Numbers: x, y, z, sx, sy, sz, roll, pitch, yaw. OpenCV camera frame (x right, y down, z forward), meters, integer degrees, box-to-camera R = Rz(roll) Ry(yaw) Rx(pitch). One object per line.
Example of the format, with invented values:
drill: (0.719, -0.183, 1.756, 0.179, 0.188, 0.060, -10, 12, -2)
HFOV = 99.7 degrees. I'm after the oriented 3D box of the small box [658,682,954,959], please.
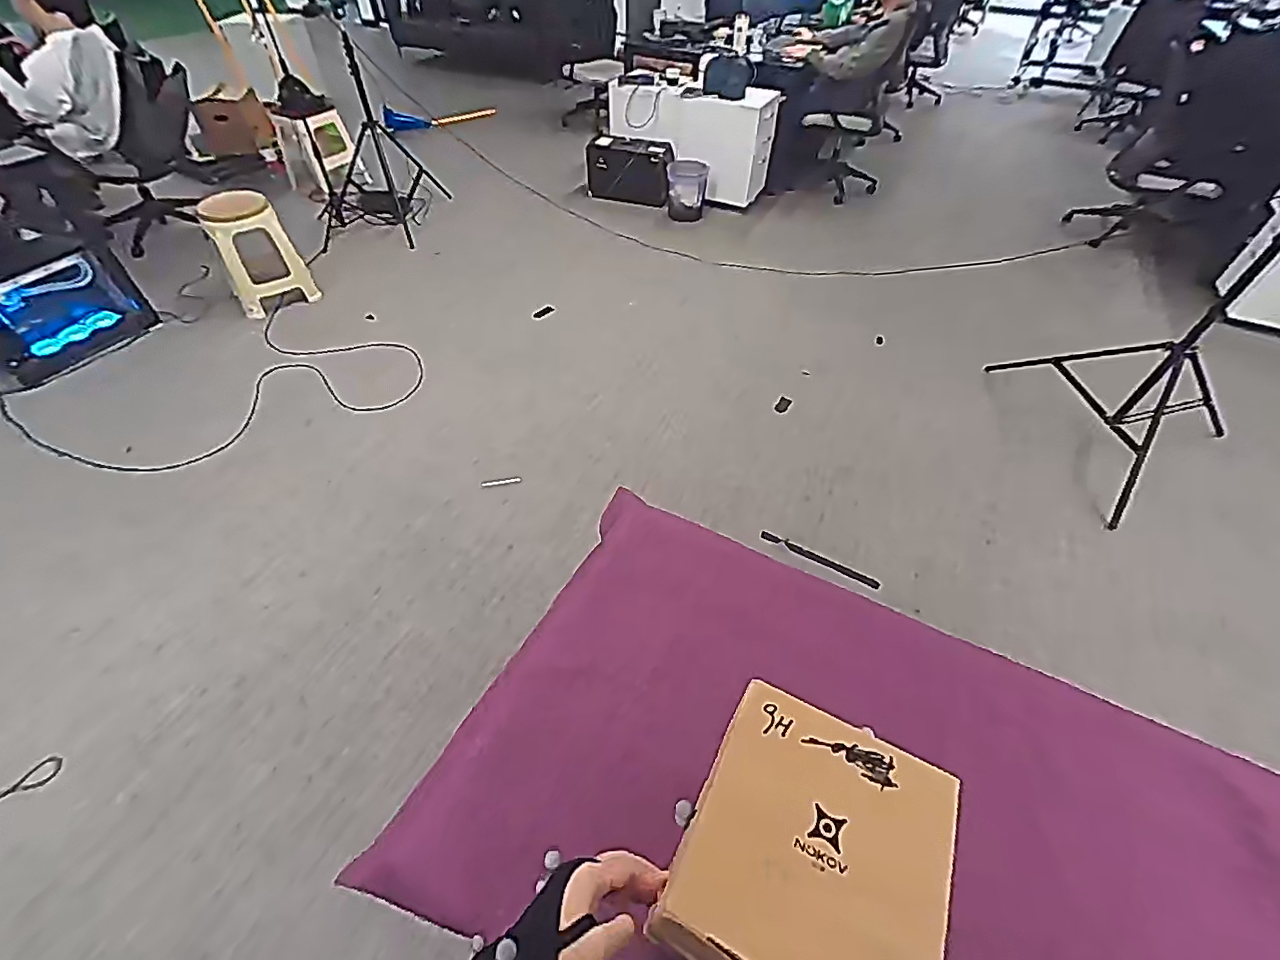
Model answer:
small box: (0.123, 0.308, 0.440, 0.168, 0.176, 0.179, 23, 51, 17)
